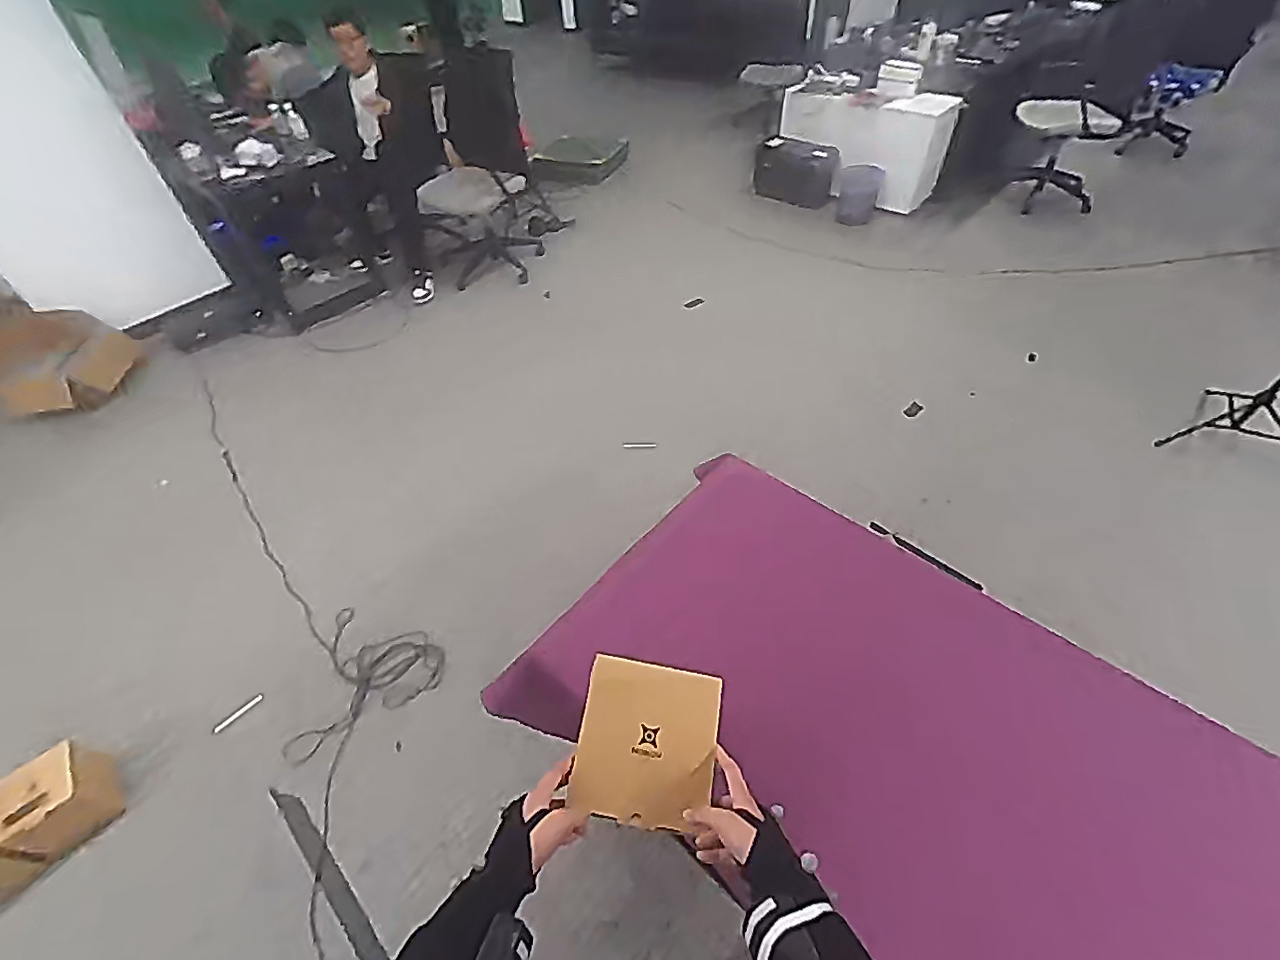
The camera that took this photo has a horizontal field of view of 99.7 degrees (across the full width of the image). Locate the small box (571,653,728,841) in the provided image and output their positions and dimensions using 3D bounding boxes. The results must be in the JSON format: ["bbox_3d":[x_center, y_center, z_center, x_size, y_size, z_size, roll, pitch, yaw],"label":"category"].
[{"bbox_3d":[0.007,0.348,0.712,0.168,0.176,0.179,13,61,0],"label":"small box"}]
